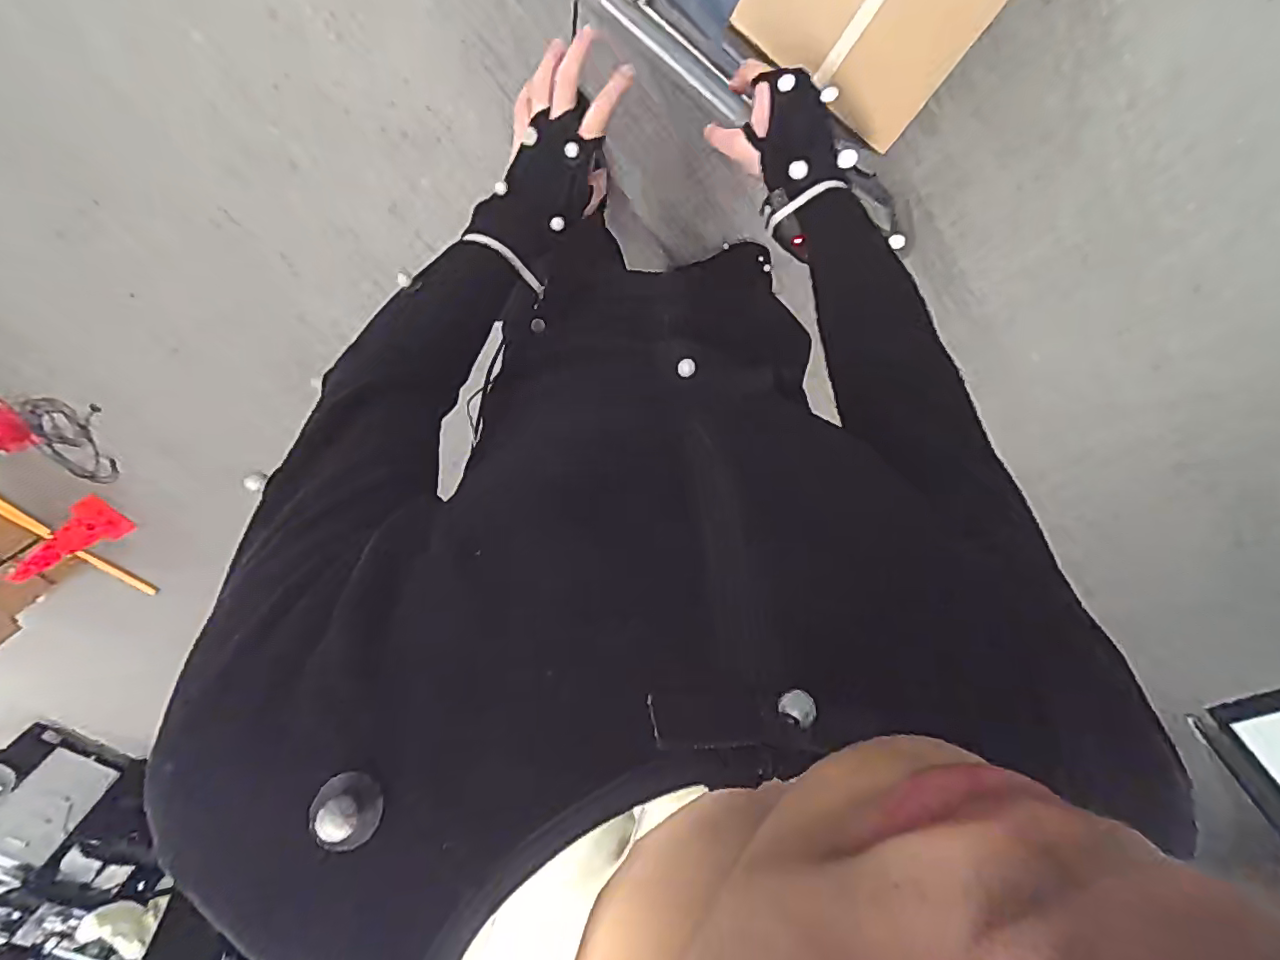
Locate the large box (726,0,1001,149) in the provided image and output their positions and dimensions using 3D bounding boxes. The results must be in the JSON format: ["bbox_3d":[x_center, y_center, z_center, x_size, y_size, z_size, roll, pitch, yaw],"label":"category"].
[{"bbox_3d":[0.375,-0.808,0.838,0.320,0.320,0.408,30,123,-15],"label":"large box"}]
